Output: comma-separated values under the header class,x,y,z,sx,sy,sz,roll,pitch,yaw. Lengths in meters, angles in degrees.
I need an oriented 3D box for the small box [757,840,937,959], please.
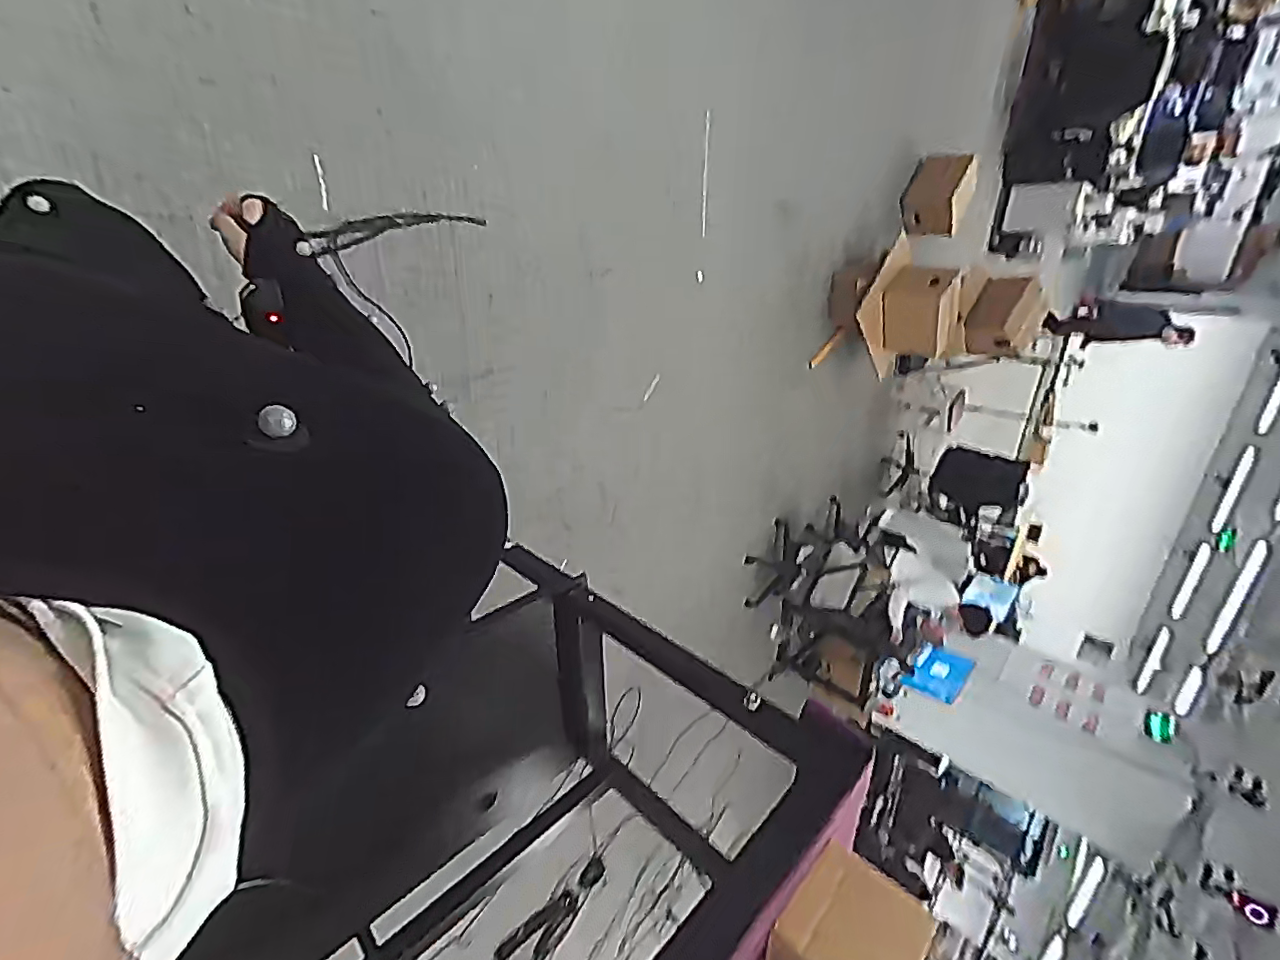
class,x,y,z,sx,sy,sz,roll,pitch,yaw
small box,0.285,0.671,0.769,0.179,0.176,0.168,-24,124,-38
